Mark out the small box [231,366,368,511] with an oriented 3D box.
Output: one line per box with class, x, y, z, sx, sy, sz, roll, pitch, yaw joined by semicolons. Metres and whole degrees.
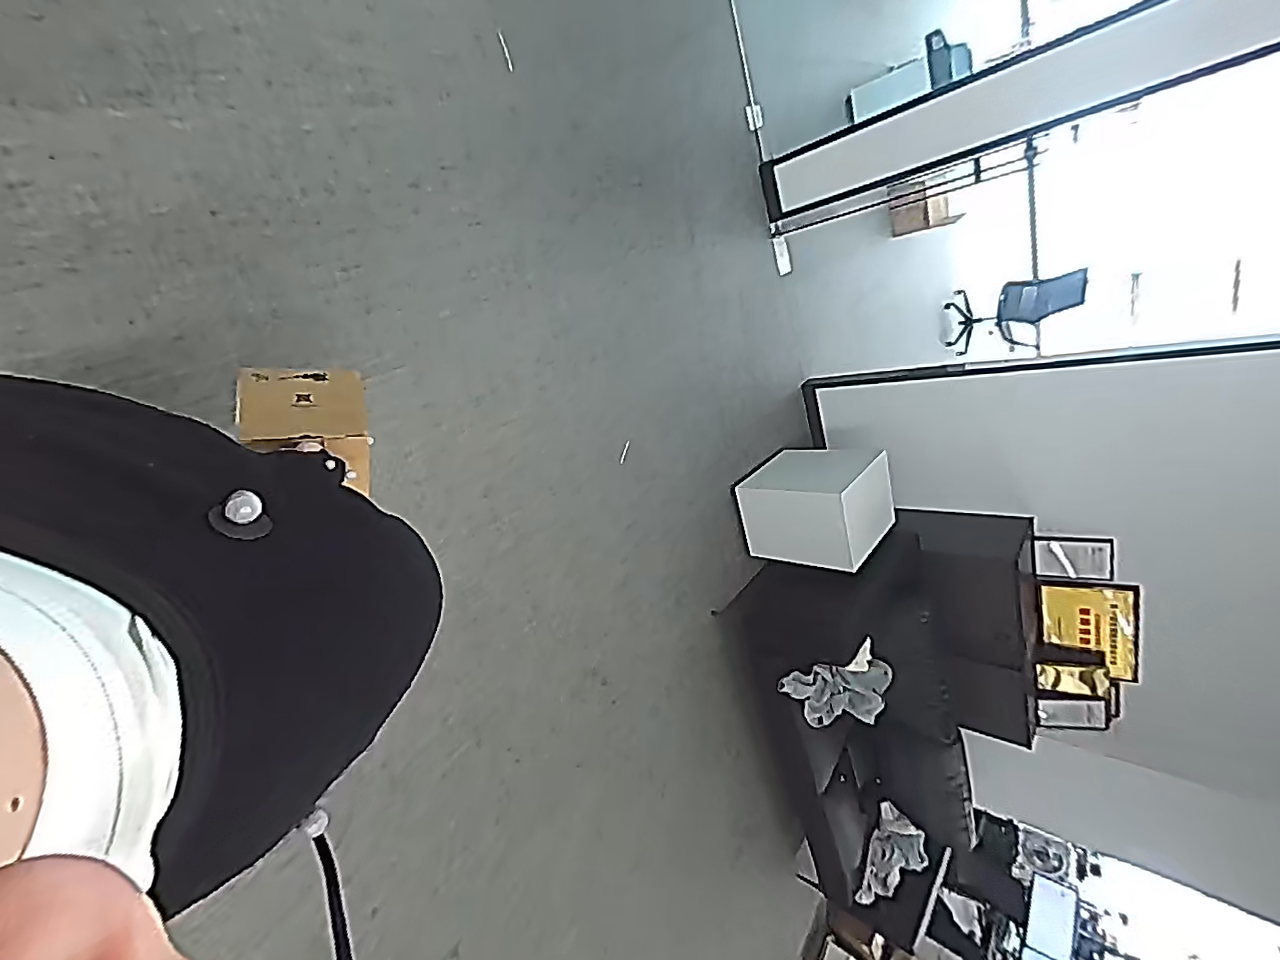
small box;-0.545;-0.065;0.875;0.168;0.179;0.176;-8;139;-31
